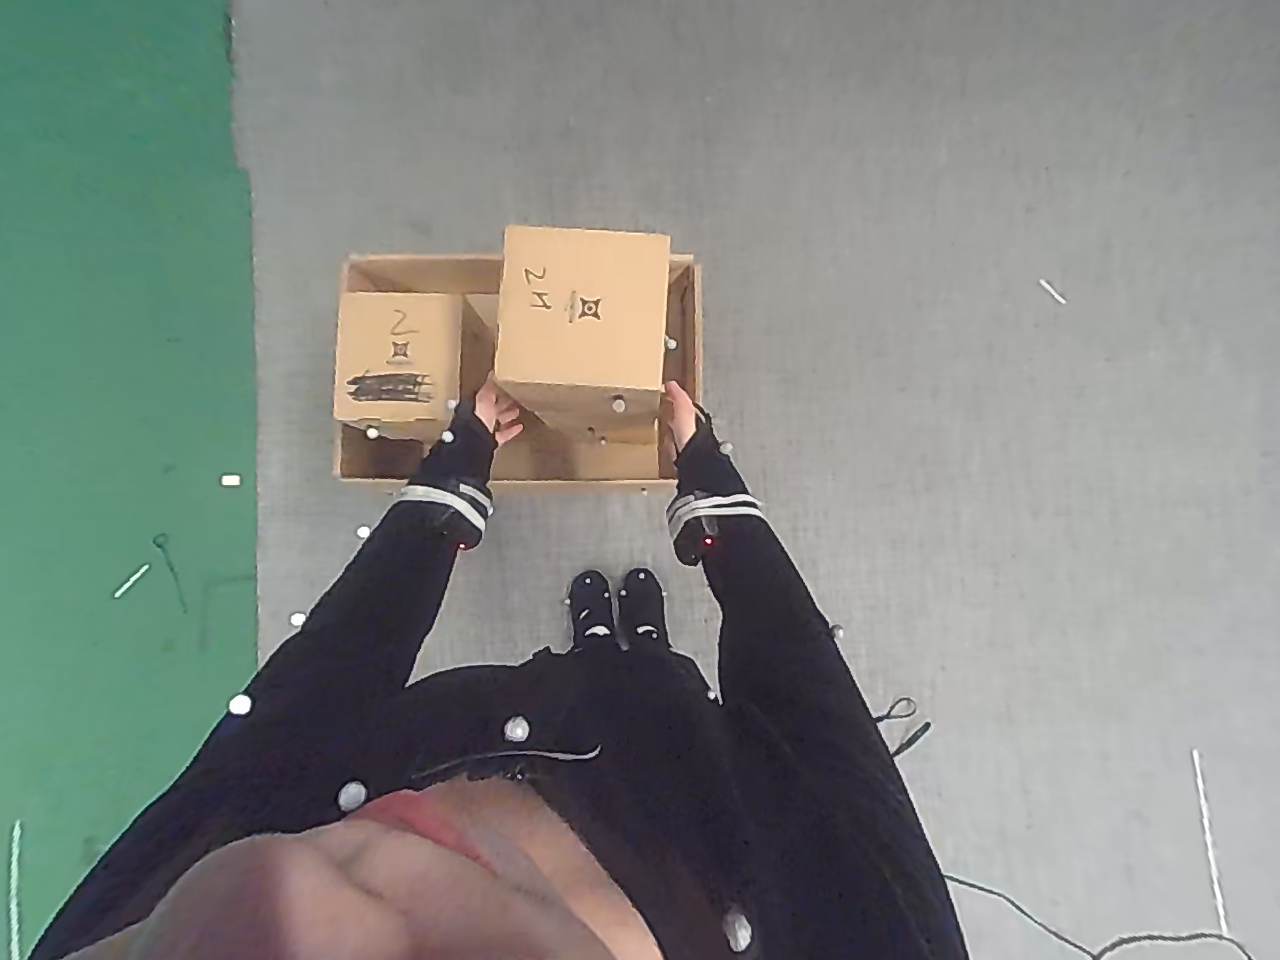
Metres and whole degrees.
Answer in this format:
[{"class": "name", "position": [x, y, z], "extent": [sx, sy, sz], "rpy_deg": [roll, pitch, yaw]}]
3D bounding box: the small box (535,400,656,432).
[{"class": "small box", "position": [-0.056, -0.173, 0.802], "extent": [0.168, 0.176, 0.179], "rpy_deg": [3, 88, 1]}]

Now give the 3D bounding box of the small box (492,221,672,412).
[{"class": "small box", "position": [-0.058, -0.178, 0.637], "extent": [0.179, 0.176, 0.168], "rpy_deg": [4, 87, 2]}]
